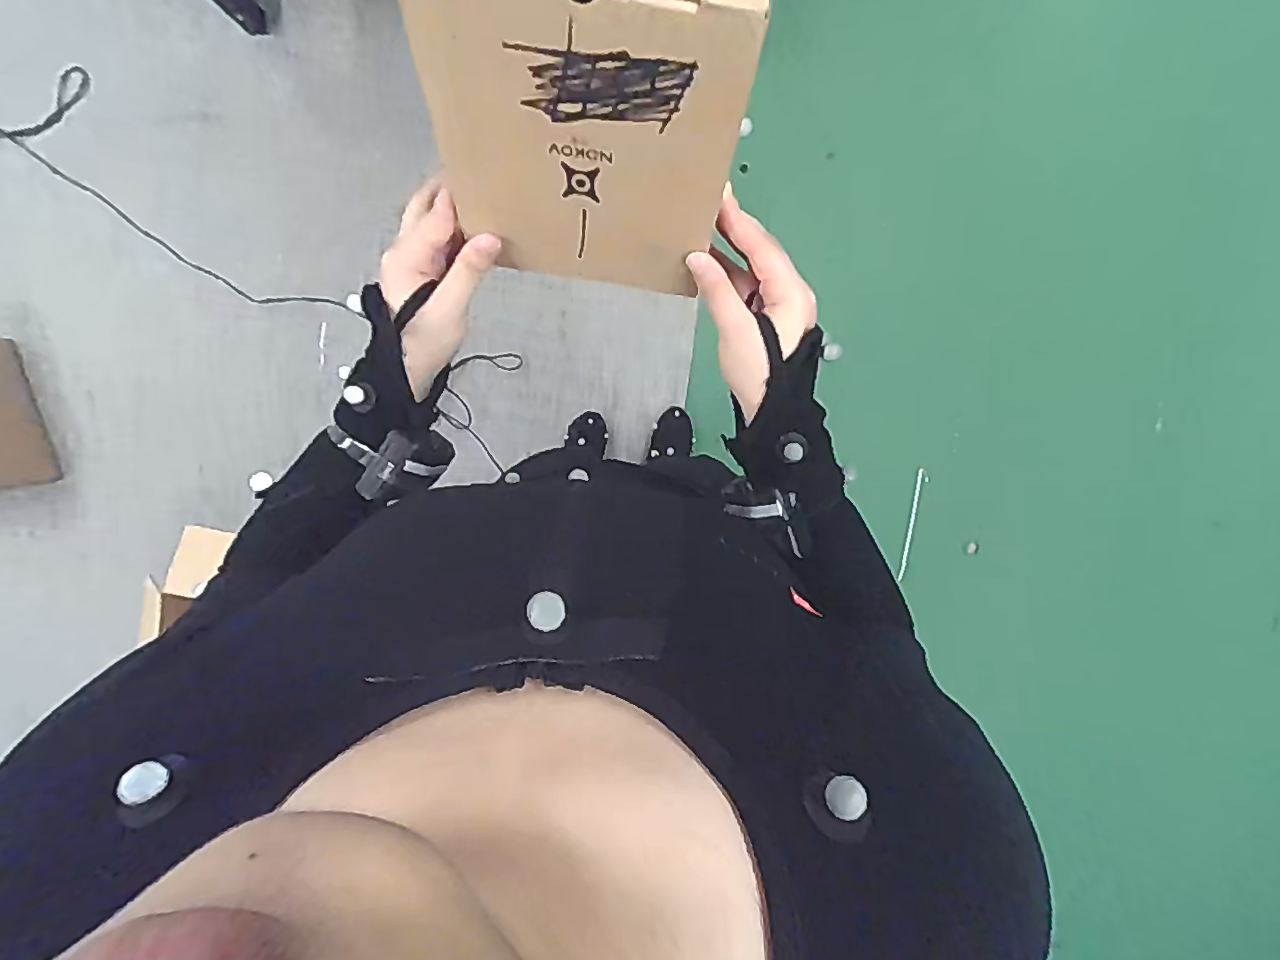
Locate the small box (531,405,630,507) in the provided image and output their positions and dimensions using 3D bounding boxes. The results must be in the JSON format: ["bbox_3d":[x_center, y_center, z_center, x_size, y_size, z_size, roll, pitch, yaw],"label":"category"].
[{"bbox_3d":[-0.143,-0.063,1.376,0.179,0.168,0.176,-35,125,-18],"label":"small box"}]
